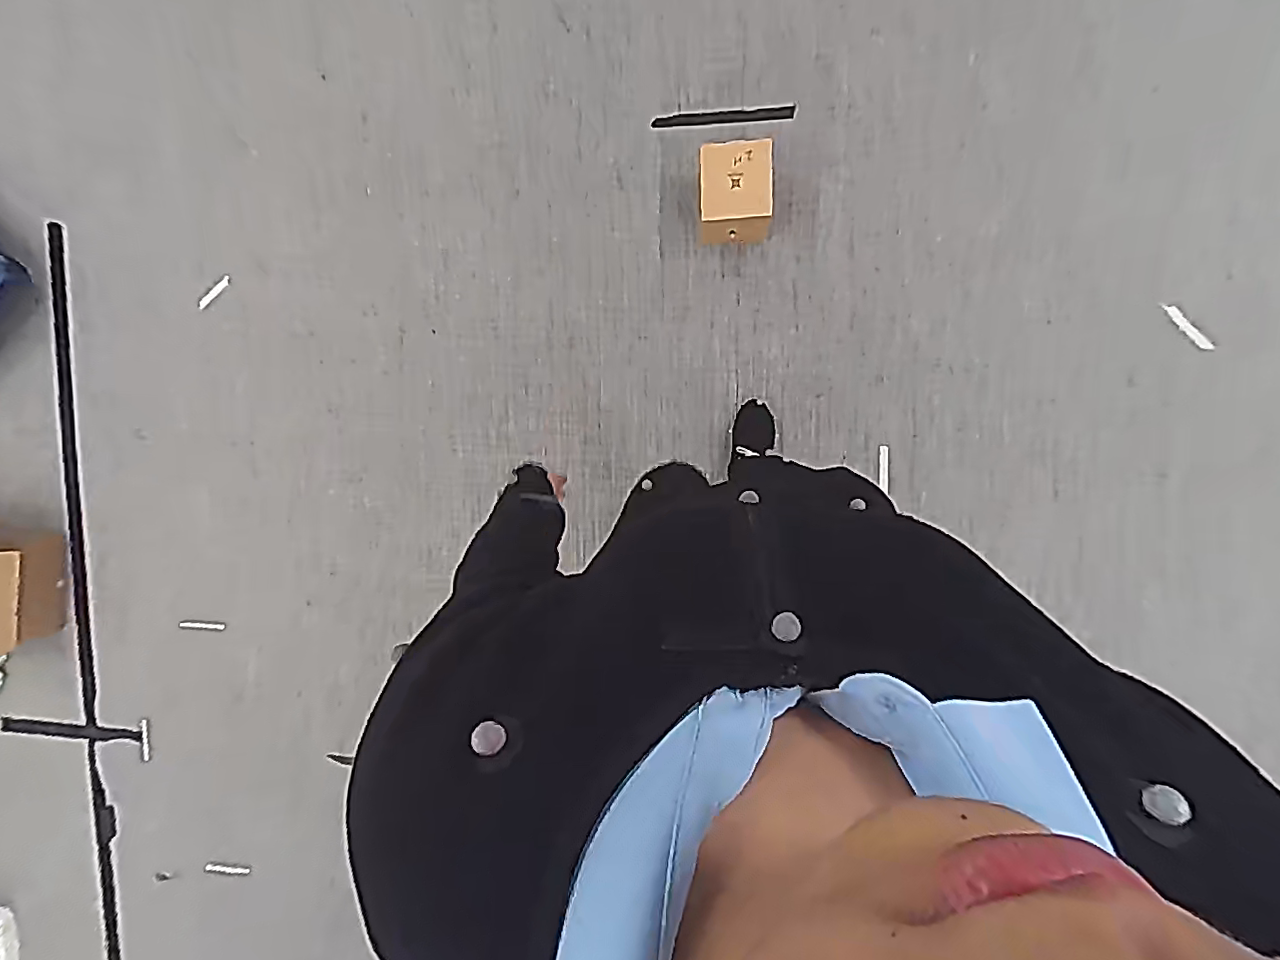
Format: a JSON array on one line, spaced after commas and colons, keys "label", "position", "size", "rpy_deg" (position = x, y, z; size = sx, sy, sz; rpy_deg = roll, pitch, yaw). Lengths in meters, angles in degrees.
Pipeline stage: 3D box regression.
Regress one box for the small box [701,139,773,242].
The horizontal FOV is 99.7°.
[{"label": "small box", "position": [0.234, -0.699, 1.327], "size": [0.168, 0.176, 0.179], "rpy_deg": [-1, 94, 6]}]
